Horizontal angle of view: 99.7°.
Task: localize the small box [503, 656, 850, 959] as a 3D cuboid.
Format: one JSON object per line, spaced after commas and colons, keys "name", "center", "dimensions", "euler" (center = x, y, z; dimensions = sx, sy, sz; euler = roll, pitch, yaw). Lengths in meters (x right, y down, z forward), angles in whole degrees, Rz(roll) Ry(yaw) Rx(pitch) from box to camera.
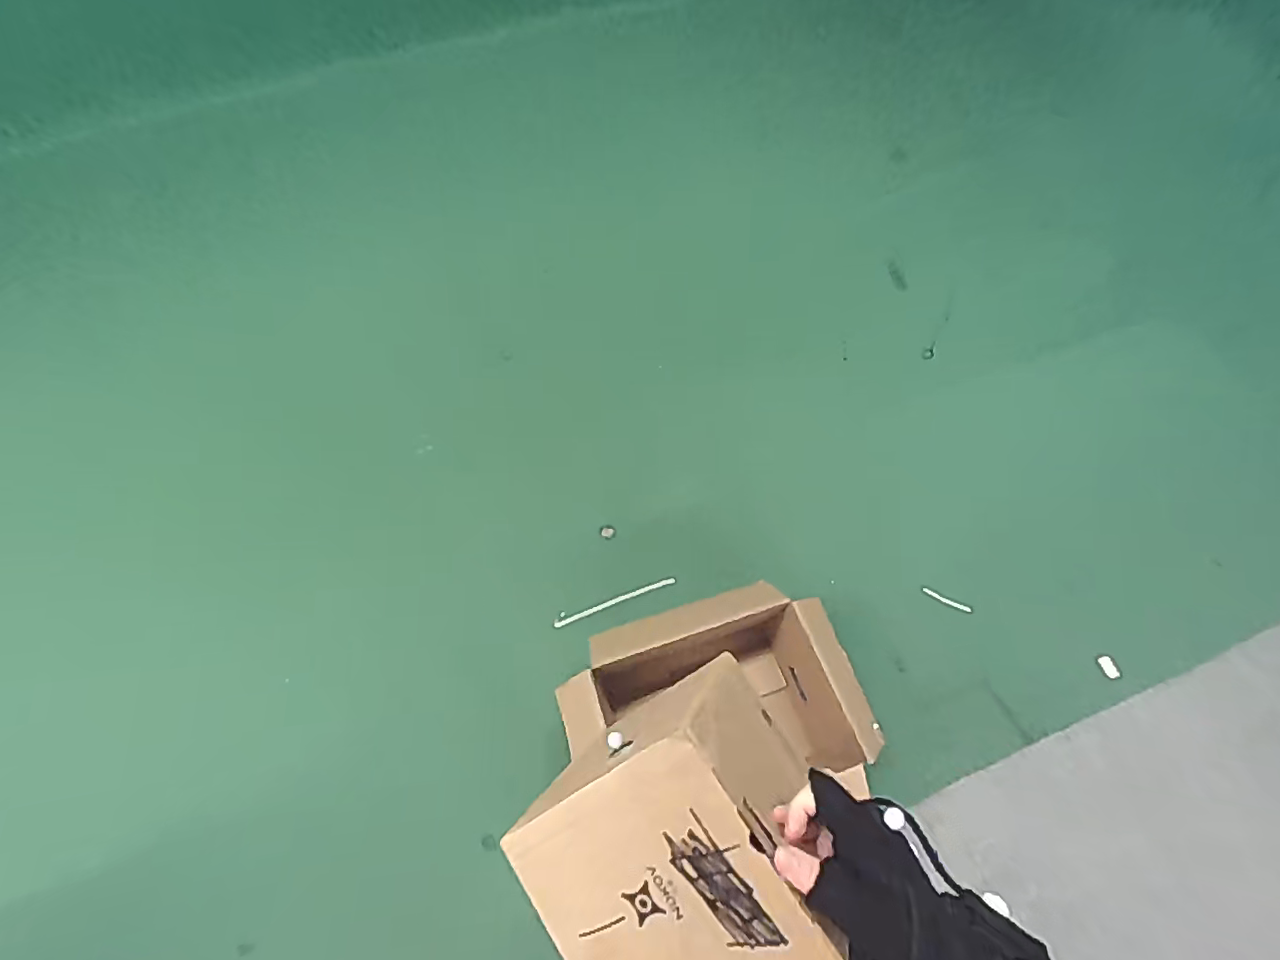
{"name": "small box", "center": [0.036, 0.267, 0.423], "dimensions": [0.179, 0.176, 0.168], "euler": [-38, 80, 16]}
